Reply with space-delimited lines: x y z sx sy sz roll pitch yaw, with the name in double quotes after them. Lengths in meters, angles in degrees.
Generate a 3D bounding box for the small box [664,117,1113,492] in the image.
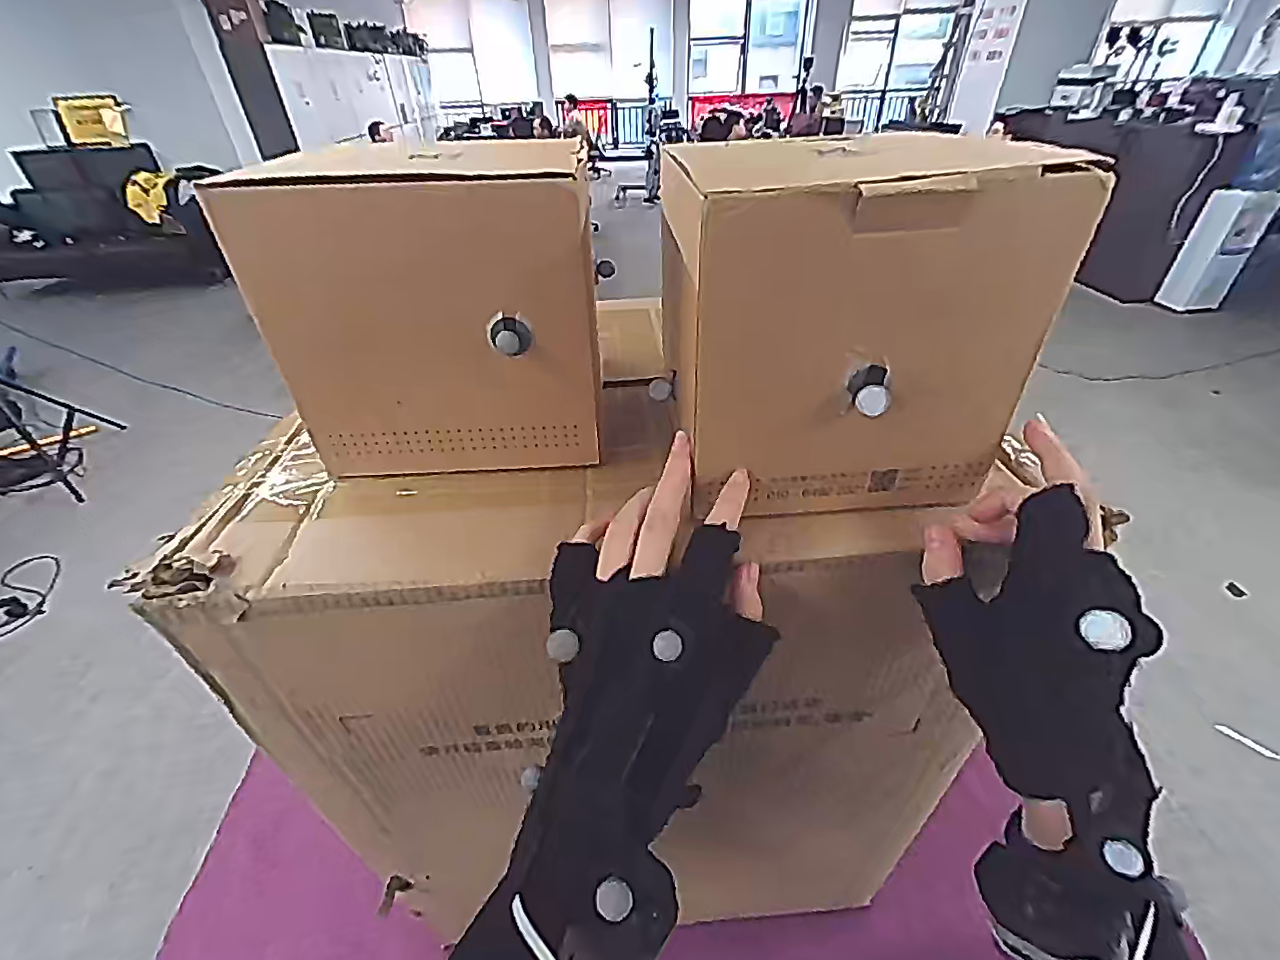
0.105 -0.104 0.323 0.168 0.176 0.179 -4 37 -1 "small box"

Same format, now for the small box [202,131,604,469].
-0.113 -0.121 0.356 0.179 0.176 0.168 -4 36 -2 "small box"
